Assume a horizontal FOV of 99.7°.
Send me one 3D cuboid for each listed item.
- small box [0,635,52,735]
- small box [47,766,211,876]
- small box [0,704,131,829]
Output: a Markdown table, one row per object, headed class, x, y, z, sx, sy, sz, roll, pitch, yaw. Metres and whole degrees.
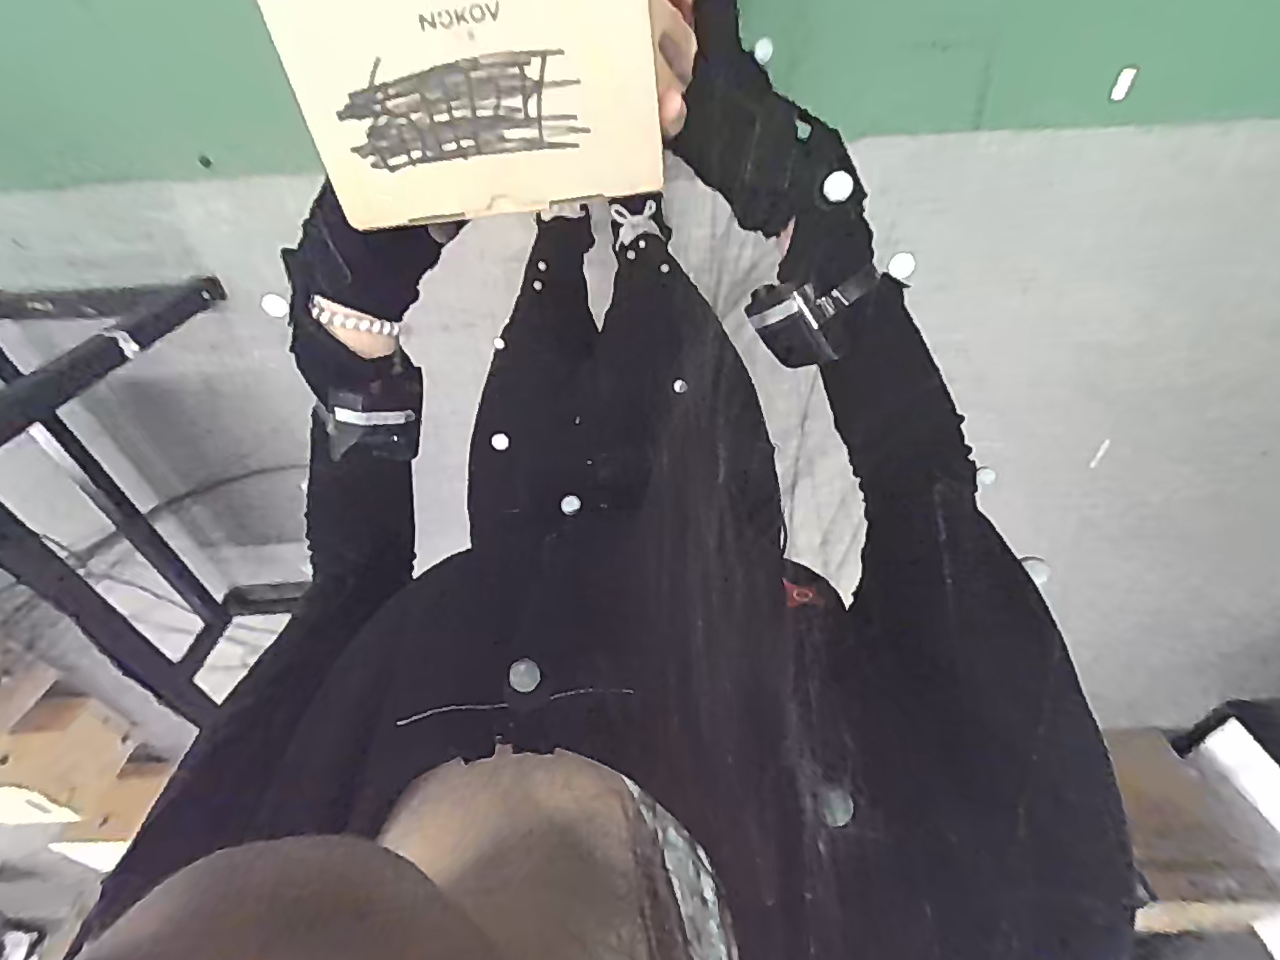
| class | x | y | z | sx | sy | sz | roll | pitch | yaw |
| --- | --- | --- | --- | --- | --- | --- | --- | --- | --- |
| small box | -1.169 | 0.364 | 0.893 | 0.179 | 0.176 | 0.168 | -4 | 130 | 1 |
| small box | -1.145 | 0.773 | 1.231 | 0.179 | 0.176 | 0.168 | -3 | 129 | 2 |
| small box | -1.155 | 0.551 | 1.048 | 0.179 | 0.176 | 0.168 | -2 | 129 | 1 |
